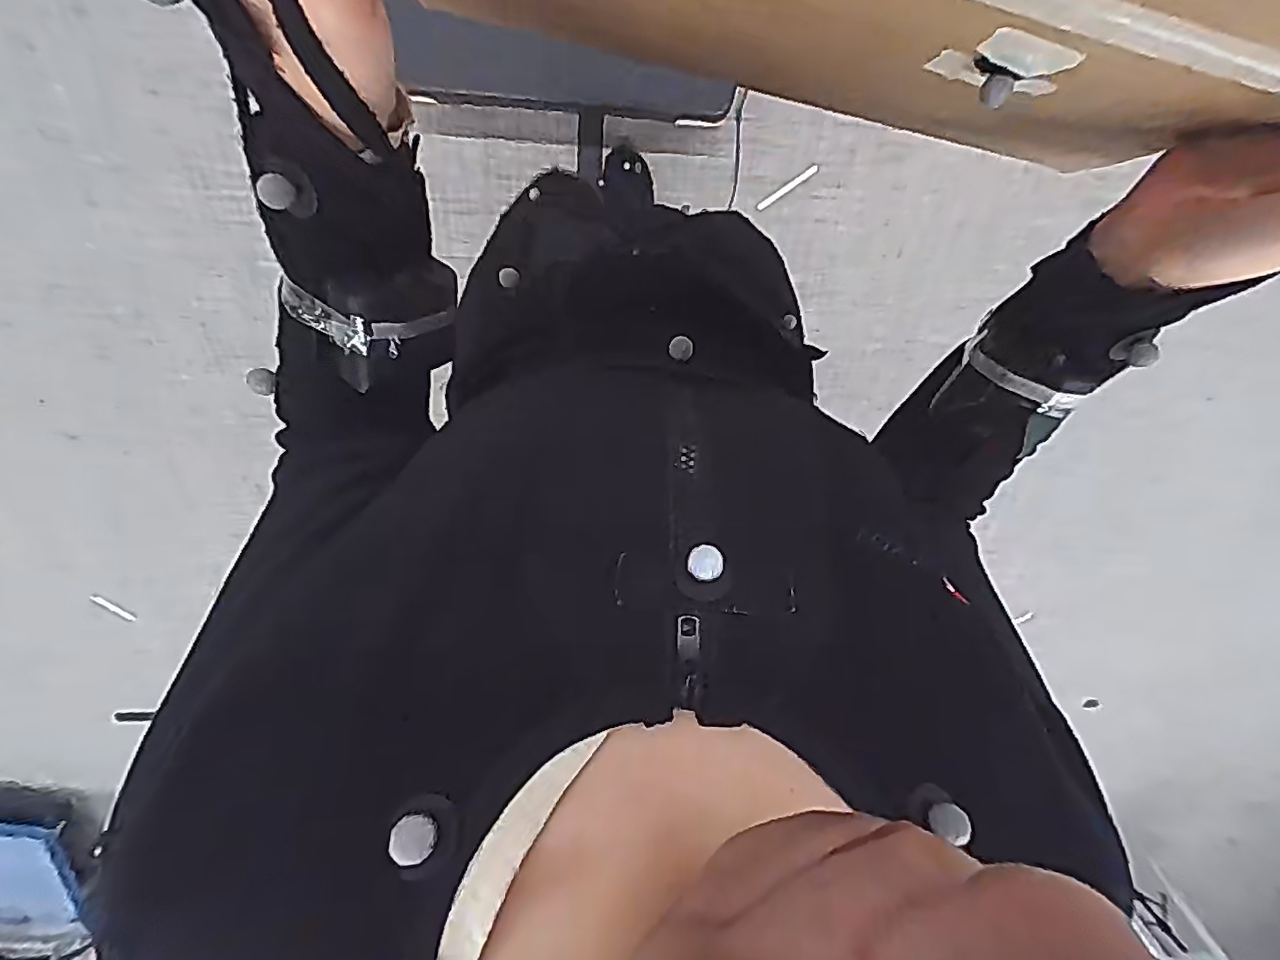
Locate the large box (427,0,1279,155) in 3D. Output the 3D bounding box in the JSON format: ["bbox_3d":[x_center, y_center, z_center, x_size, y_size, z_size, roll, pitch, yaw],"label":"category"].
[{"bbox_3d":[0.118,-0.323,0.133,0.408,0.320,0.320,6,110,-9],"label":"large box"}]
